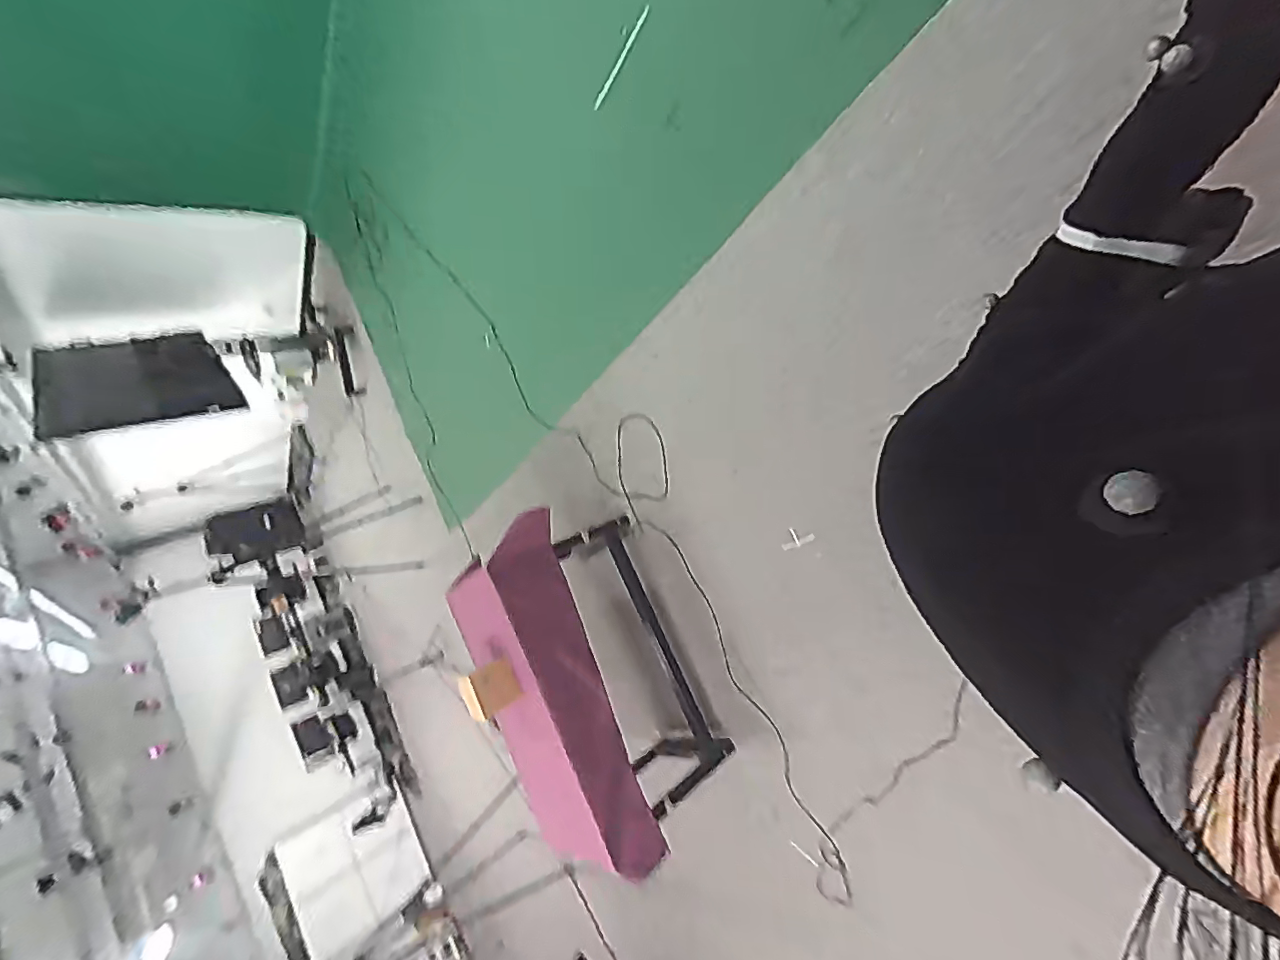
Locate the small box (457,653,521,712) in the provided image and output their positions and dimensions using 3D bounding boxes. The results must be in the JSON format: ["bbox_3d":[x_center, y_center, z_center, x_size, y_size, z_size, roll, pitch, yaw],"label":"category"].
[{"bbox_3d":[-0.608,0.810,2.178,0.168,0.176,0.179,-31,81,51],"label":"small box"}]
